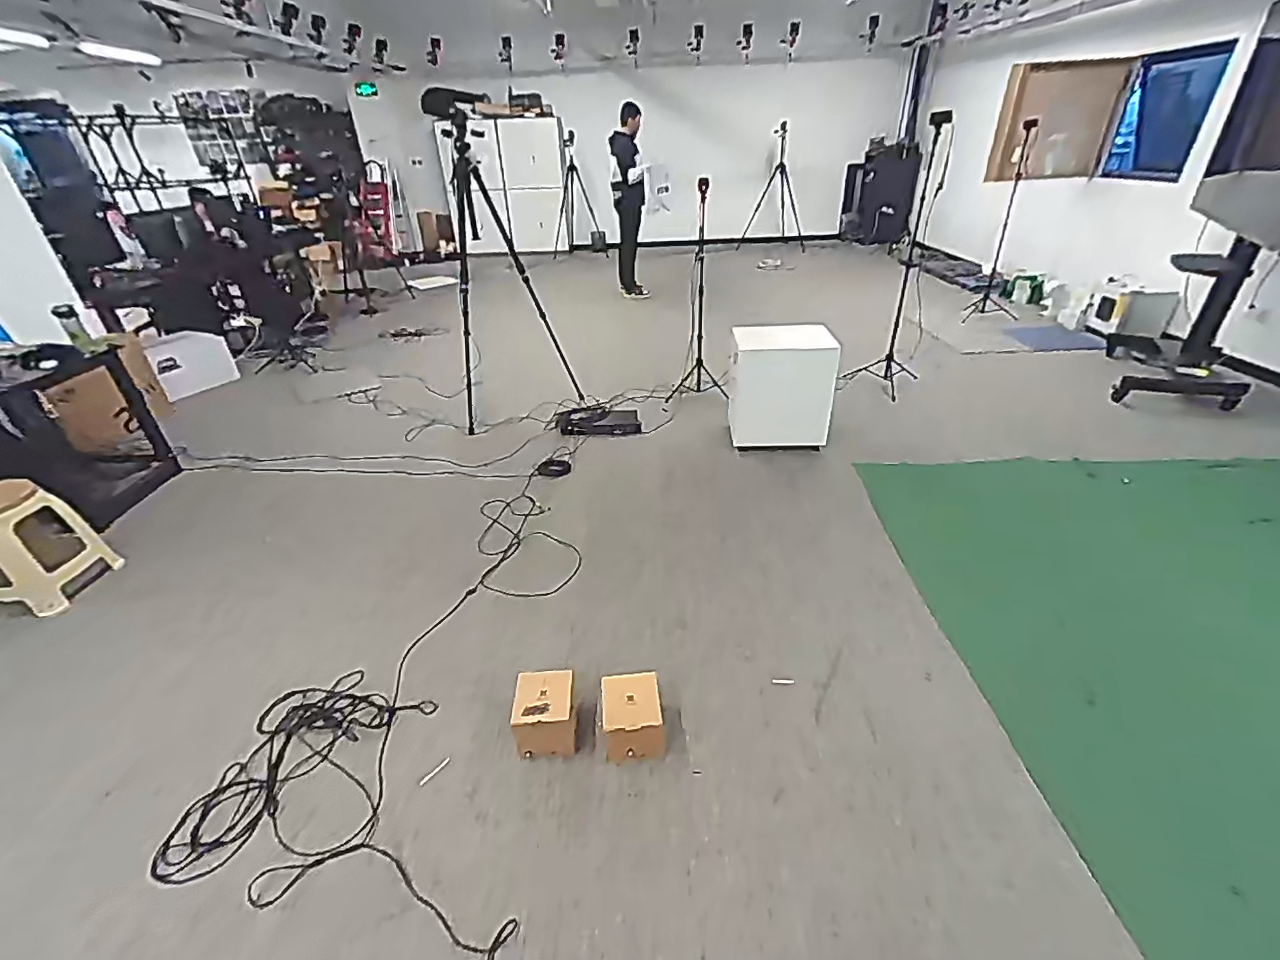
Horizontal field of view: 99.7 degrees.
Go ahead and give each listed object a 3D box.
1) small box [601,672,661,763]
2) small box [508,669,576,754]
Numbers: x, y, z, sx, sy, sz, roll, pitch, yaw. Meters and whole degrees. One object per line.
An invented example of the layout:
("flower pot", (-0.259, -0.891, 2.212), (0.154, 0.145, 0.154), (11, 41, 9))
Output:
("small box", (-0.028, 0.695, 1.584), (0.168, 0.176, 0.179), (-5, 33, -3))
("small box", (-0.283, 0.691, 1.603), (0.168, 0.176, 0.179), (-3, 32, -1))
